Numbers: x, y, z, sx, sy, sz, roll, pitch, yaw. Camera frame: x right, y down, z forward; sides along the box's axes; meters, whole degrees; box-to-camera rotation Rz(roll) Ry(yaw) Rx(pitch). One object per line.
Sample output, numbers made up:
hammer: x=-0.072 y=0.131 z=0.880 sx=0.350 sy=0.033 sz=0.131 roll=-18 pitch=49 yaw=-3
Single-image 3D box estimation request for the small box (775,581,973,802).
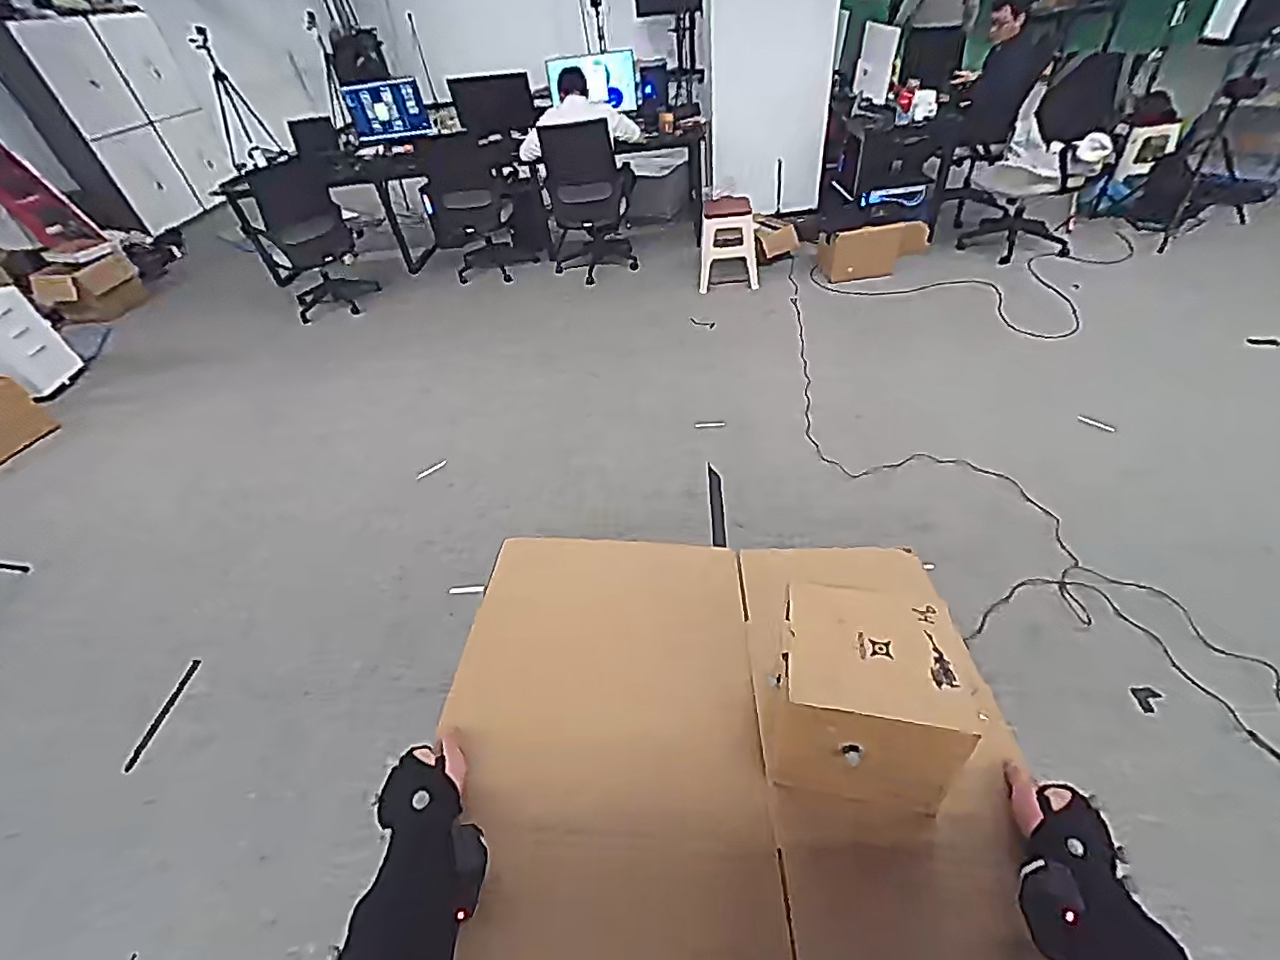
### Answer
small box: x=0.253 y=0.243 z=0.629 sx=0.179 sy=0.176 sz=0.168 roll=4 pitch=38 yaw=13
